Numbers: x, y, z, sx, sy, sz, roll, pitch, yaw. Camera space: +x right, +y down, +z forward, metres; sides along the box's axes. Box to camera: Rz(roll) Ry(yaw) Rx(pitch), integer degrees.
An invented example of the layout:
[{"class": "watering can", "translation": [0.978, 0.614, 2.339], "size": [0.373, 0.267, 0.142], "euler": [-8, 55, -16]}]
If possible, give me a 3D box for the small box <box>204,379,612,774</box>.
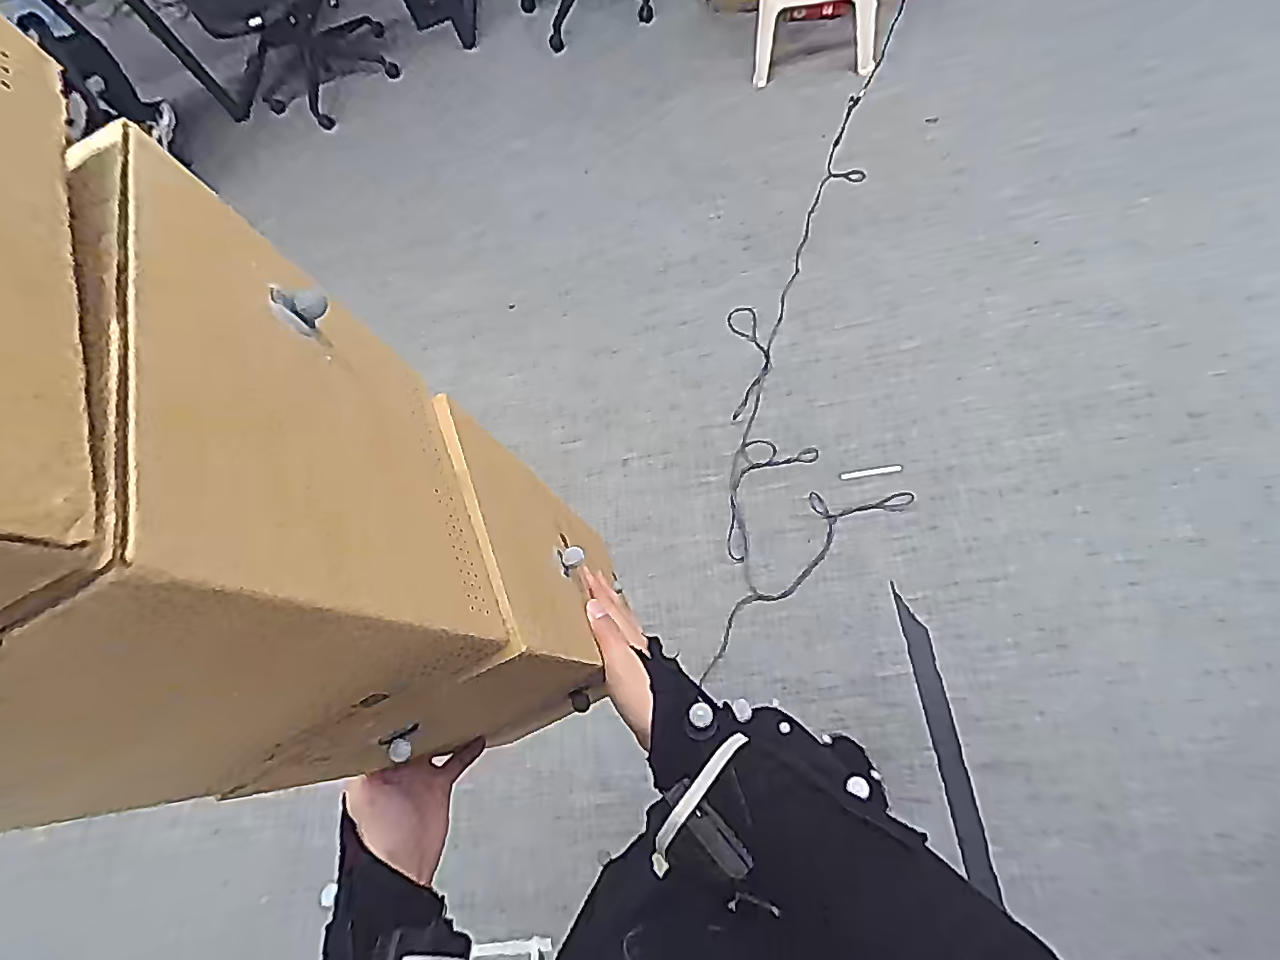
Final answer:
[{"class": "small box", "translation": [-0.141, 0.072, 0.364], "size": [0.179, 0.176, 0.168], "euler": [-26, 65, 2]}]
